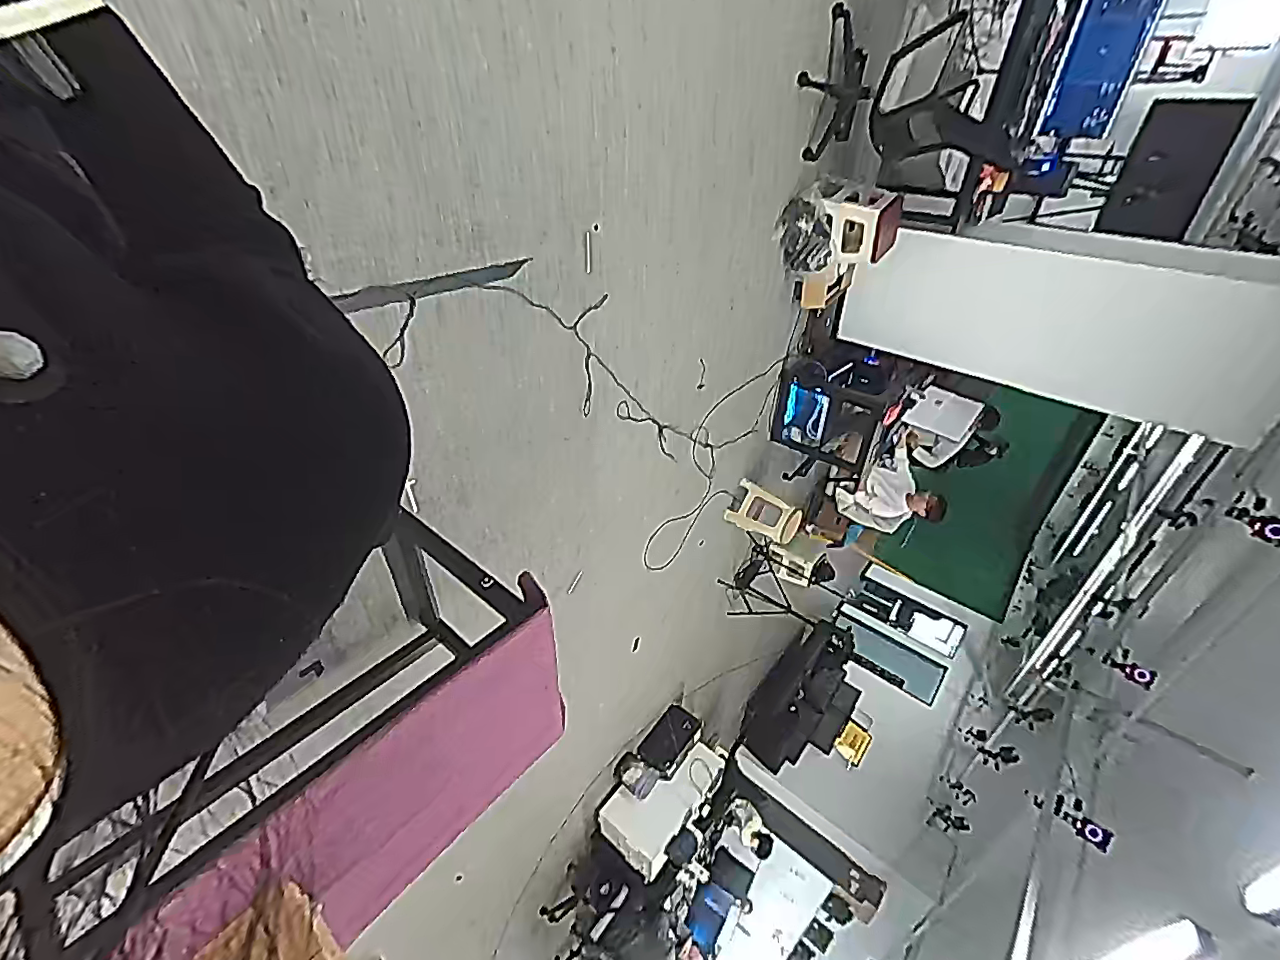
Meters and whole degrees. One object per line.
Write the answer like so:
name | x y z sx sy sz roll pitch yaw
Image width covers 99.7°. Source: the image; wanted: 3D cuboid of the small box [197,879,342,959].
small box | -0.691 0.911 1.010 0.179 0.176 0.168 -35 140 -38
